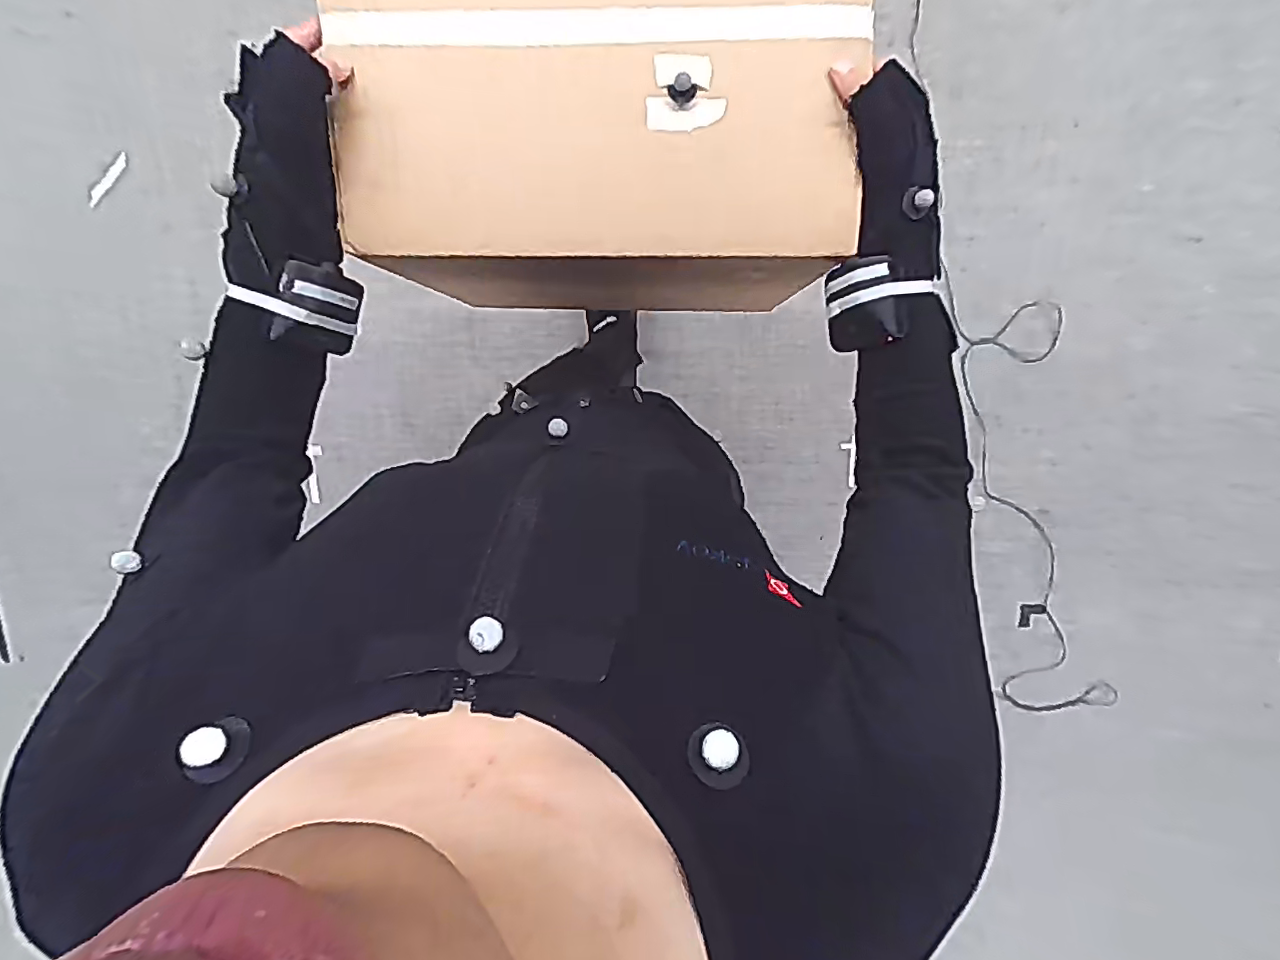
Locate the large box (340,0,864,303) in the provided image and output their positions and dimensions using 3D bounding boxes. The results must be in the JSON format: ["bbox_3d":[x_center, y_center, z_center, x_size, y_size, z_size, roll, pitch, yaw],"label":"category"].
[{"bbox_3d":[-0.029,-0.368,0.554,0.408,0.320,0.320,1,100,1],"label":"large box"}]
